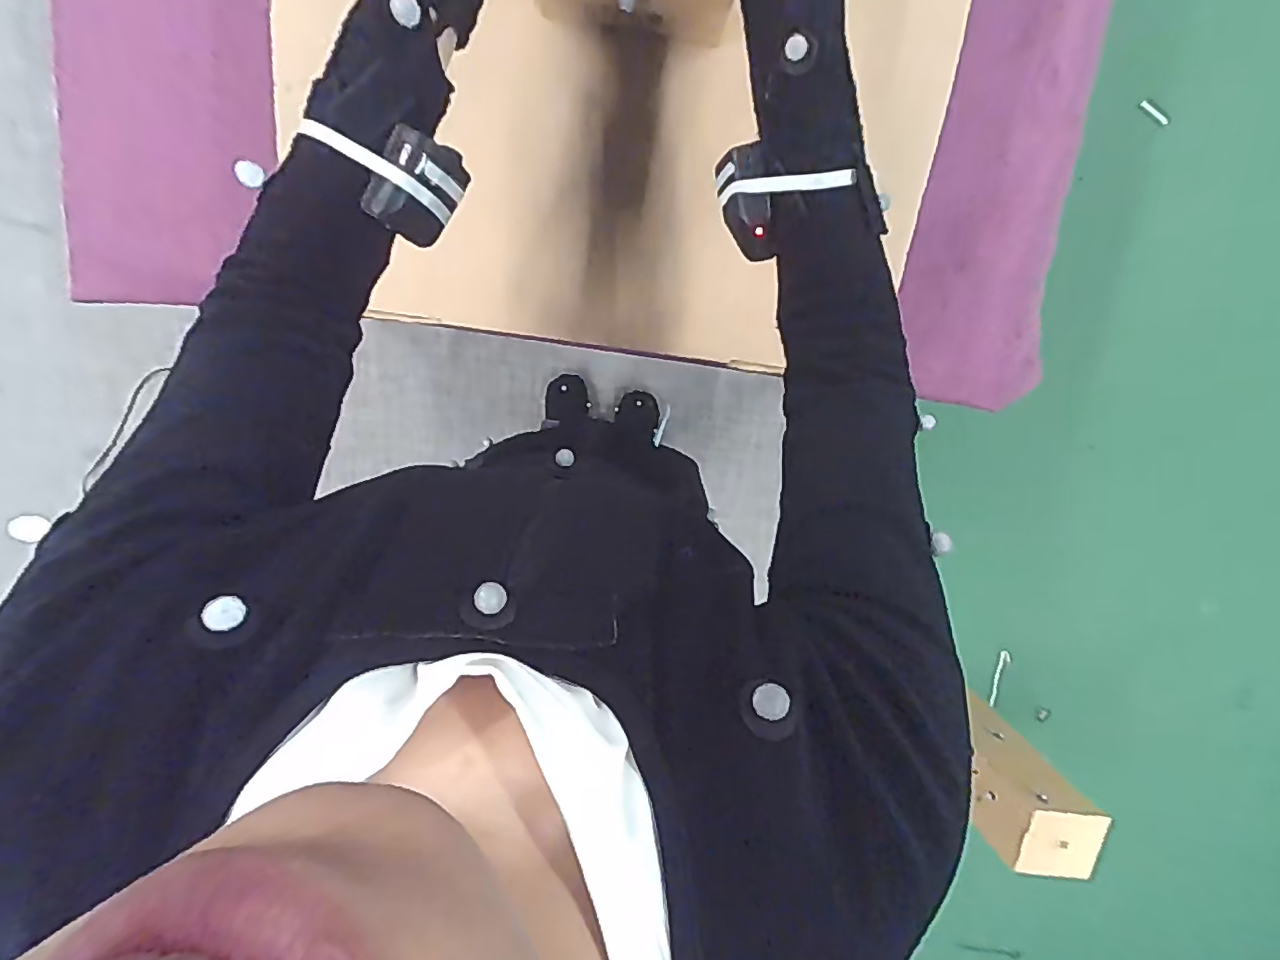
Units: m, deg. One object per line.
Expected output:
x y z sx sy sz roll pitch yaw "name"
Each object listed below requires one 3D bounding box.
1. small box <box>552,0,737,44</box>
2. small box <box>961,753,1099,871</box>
0.011 -0.465 0.379 0.168 0.176 0.179 8 100 -3 "small box"
0.902 0.771 1.267 0.179 0.176 0.168 7 103 -4 "small box"
